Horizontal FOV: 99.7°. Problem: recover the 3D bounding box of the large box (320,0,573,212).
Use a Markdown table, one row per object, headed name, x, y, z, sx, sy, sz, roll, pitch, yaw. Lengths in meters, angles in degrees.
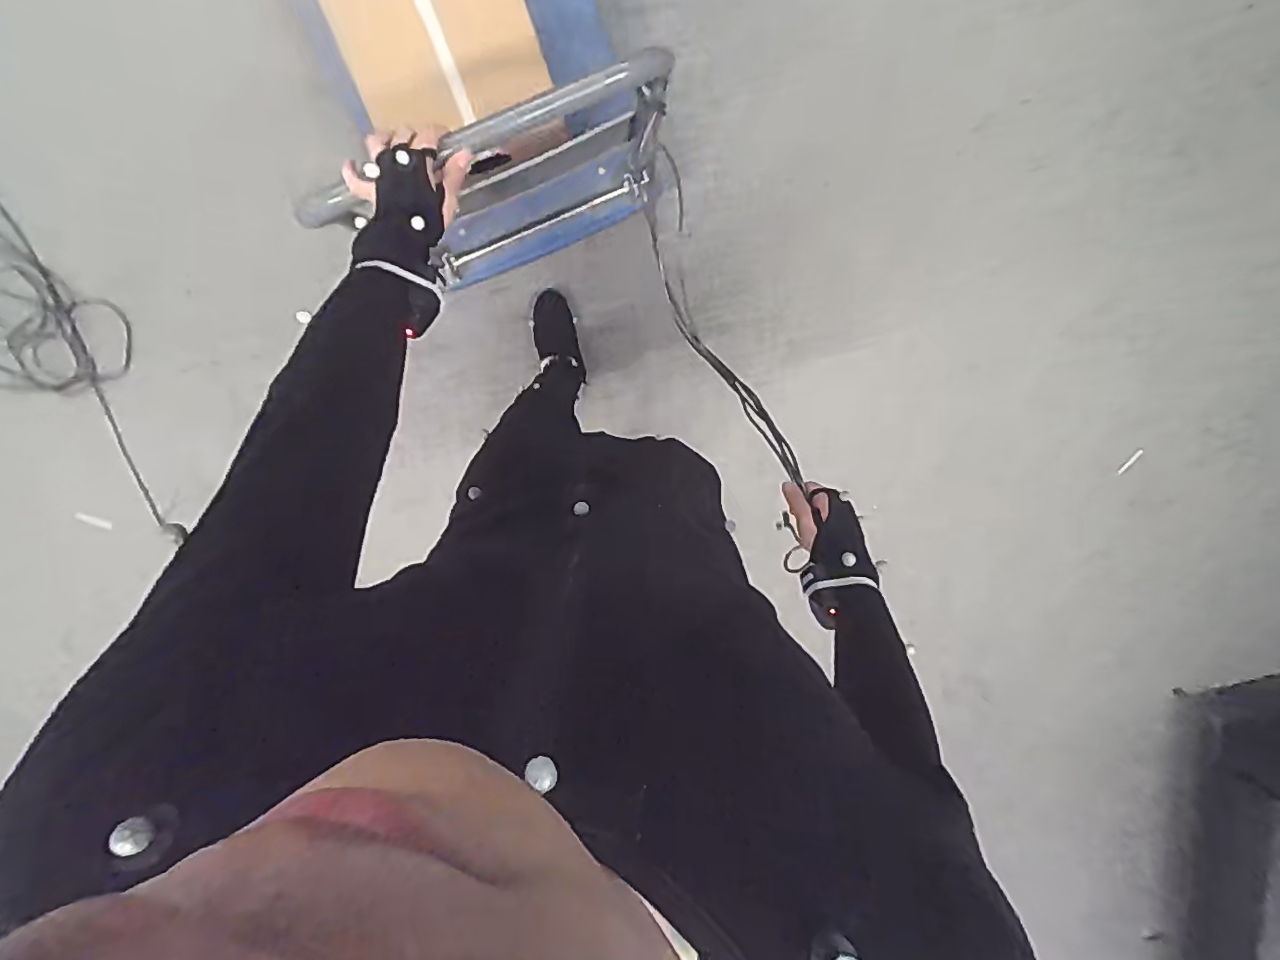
| name | x | y | z | sx | sy | sz | roll | pitch | yaw |
| --- | --- | --- | --- | --- | --- | --- | --- | --- | --- |
| large box | -0.350 | -0.796 | 1.031 | 0.320 | 0.320 | 0.408 | -20 | 107 | 2 |
